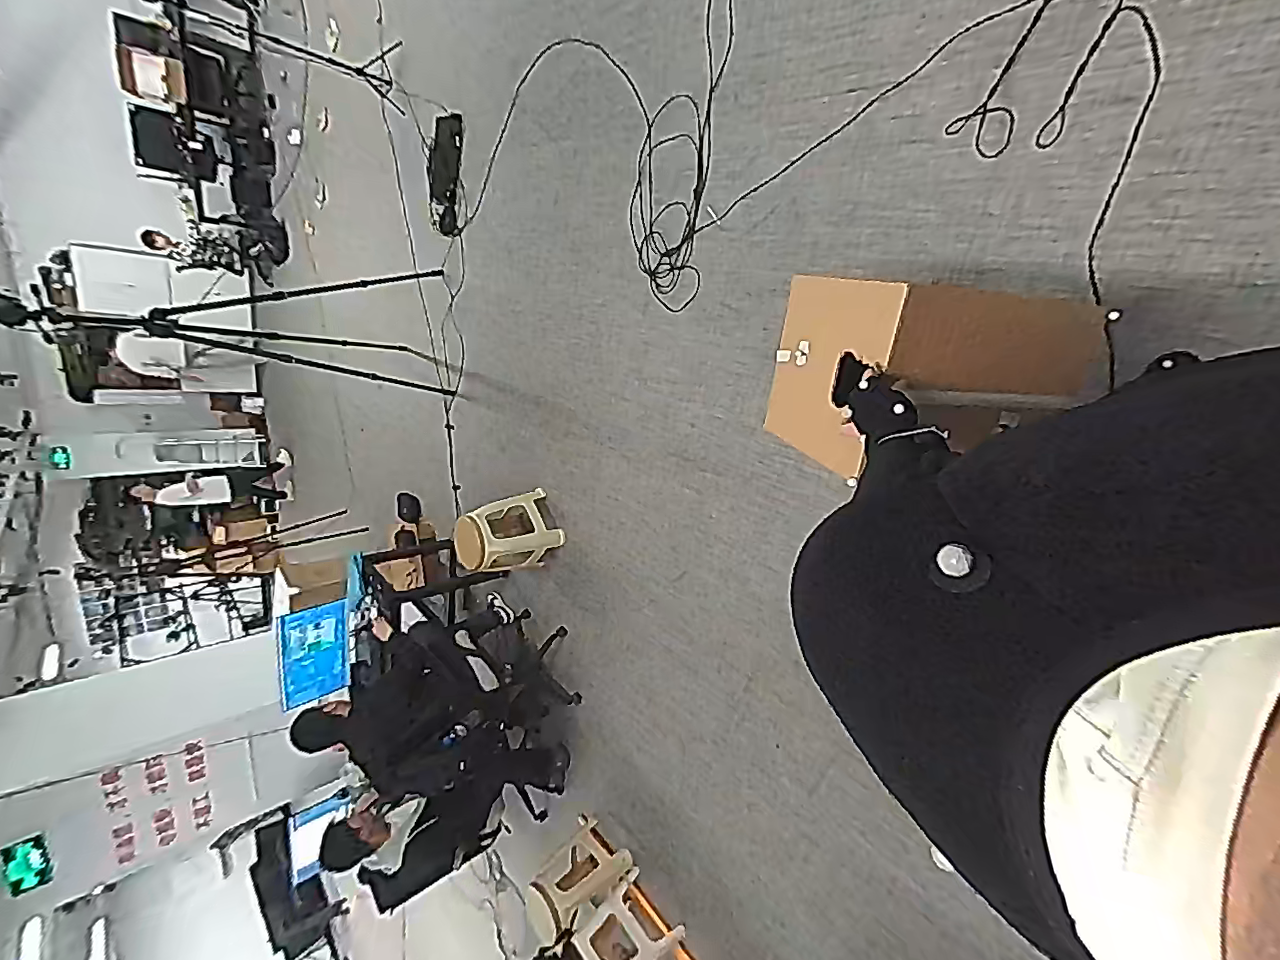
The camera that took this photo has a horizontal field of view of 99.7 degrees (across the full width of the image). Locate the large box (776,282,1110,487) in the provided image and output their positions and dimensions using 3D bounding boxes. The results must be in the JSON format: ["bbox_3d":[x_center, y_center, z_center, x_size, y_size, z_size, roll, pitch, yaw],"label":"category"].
[{"bbox_3d":[0.519,-0.192,1.003,0.320,0.408,0.320,-127,38,-62],"label":"large box"}]
